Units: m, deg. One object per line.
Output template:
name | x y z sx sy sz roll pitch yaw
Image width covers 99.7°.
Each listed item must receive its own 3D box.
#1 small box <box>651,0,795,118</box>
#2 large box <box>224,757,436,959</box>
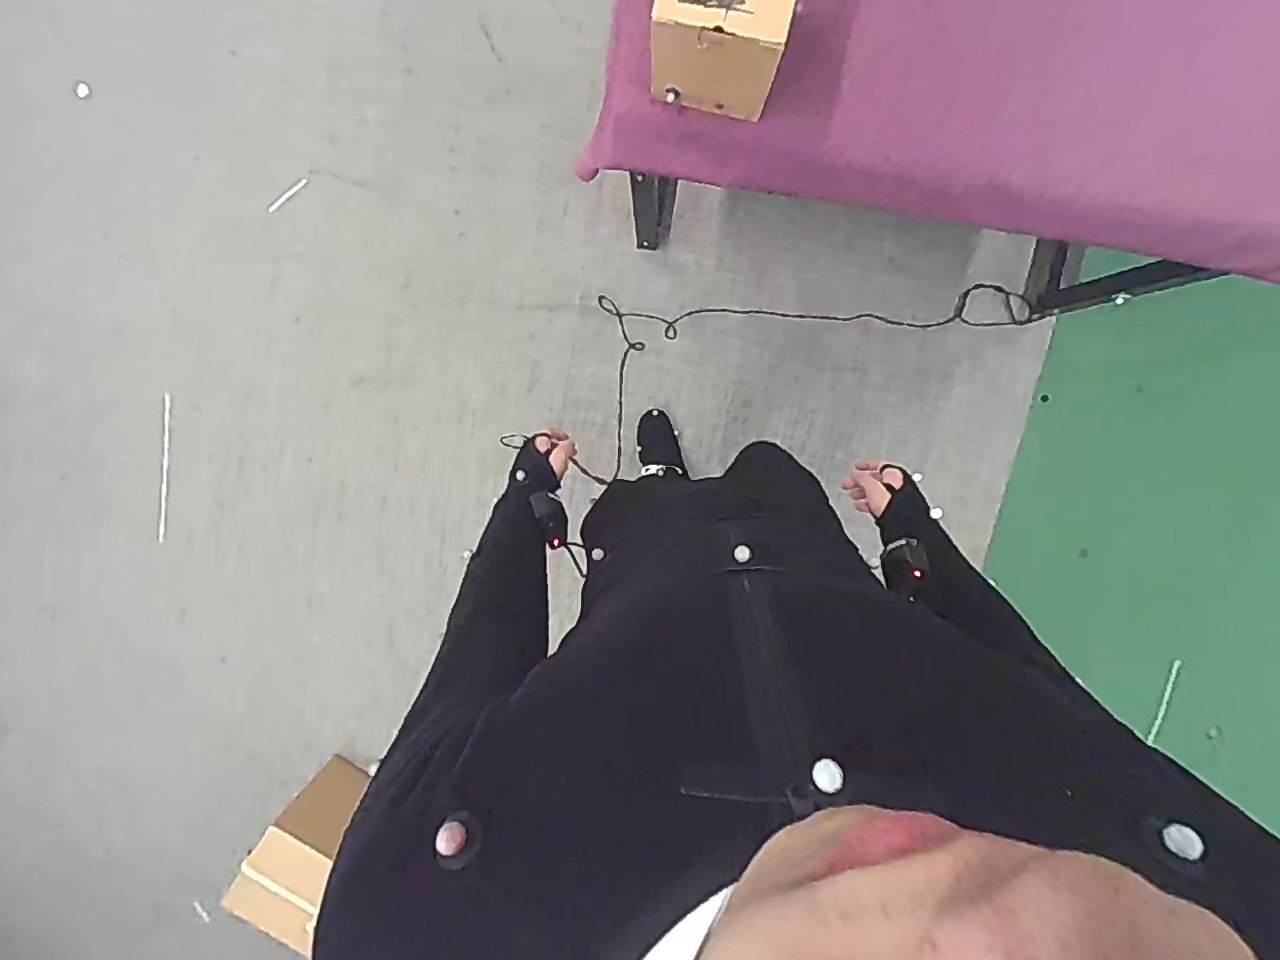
small box | 0.114 -0.622 0.712 0.168 0.176 0.179 12 96 -1
large box | -0.926 1.154 1.662 0.408 0.320 0.320 34 98 -4
